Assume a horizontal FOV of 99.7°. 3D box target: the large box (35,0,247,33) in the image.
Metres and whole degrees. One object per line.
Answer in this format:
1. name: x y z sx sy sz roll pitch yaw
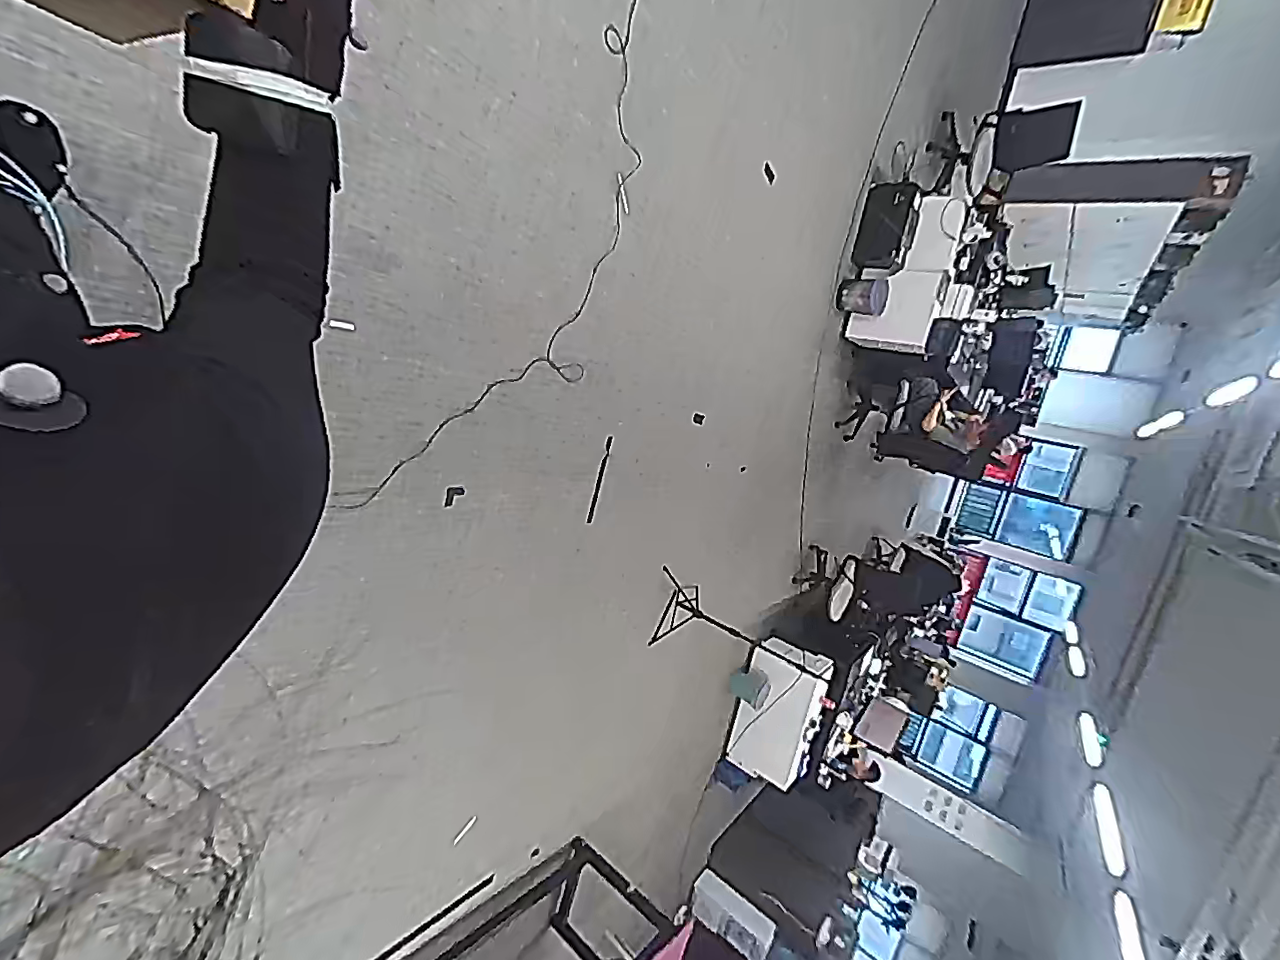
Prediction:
1. large box: -0.426 -0.476 0.212 0.408 0.320 0.320 -2 115 -56
